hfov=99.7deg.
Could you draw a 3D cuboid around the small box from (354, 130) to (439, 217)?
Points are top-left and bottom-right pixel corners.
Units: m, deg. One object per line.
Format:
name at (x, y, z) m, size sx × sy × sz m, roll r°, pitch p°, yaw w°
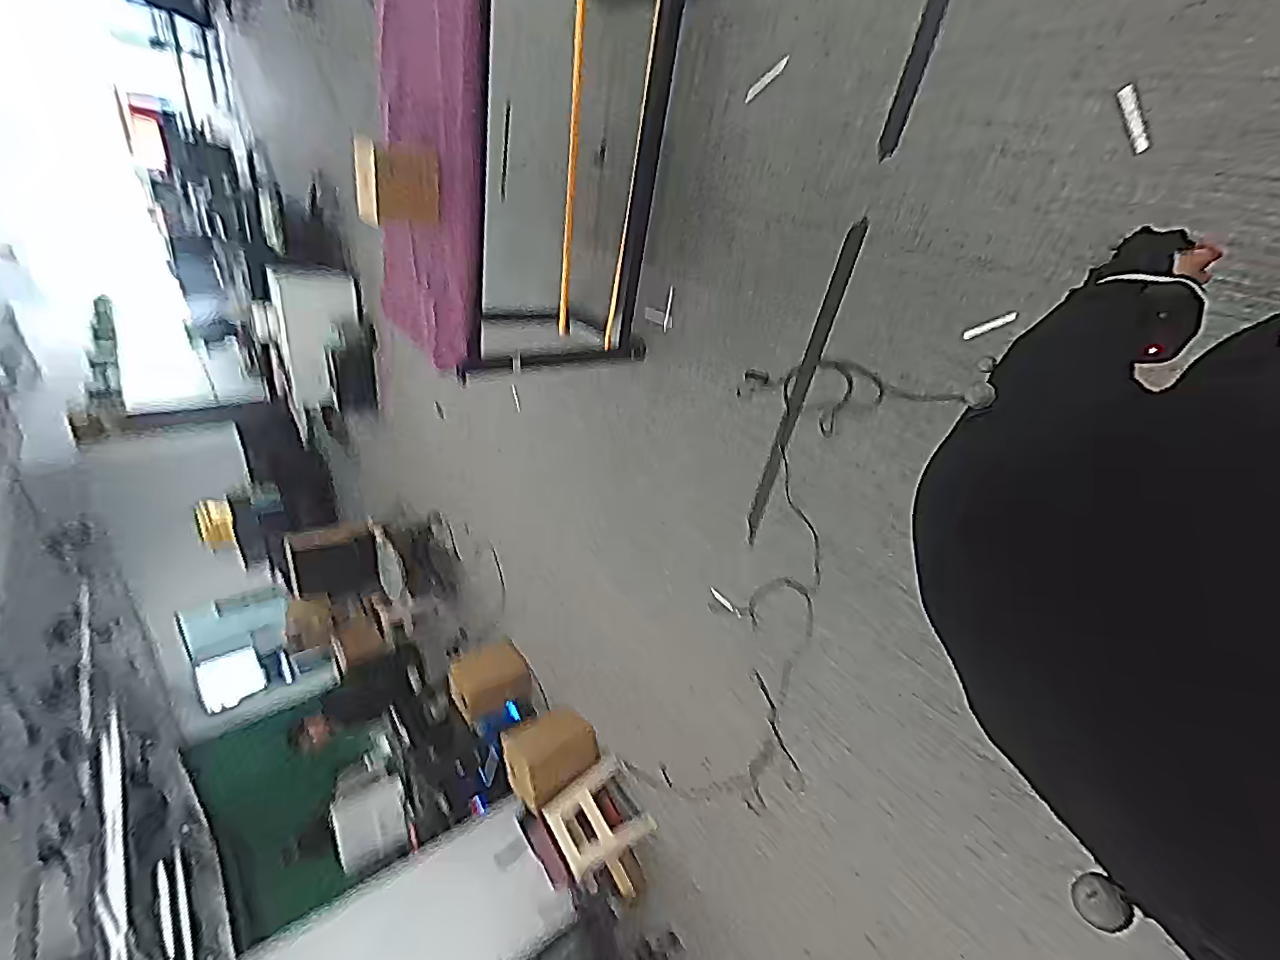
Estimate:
small box at (-0.654, -0.823, 1.462) m, size 0.168 × 0.176 × 0.179 m, roll 38°, pitch 128°, yaw 38°
